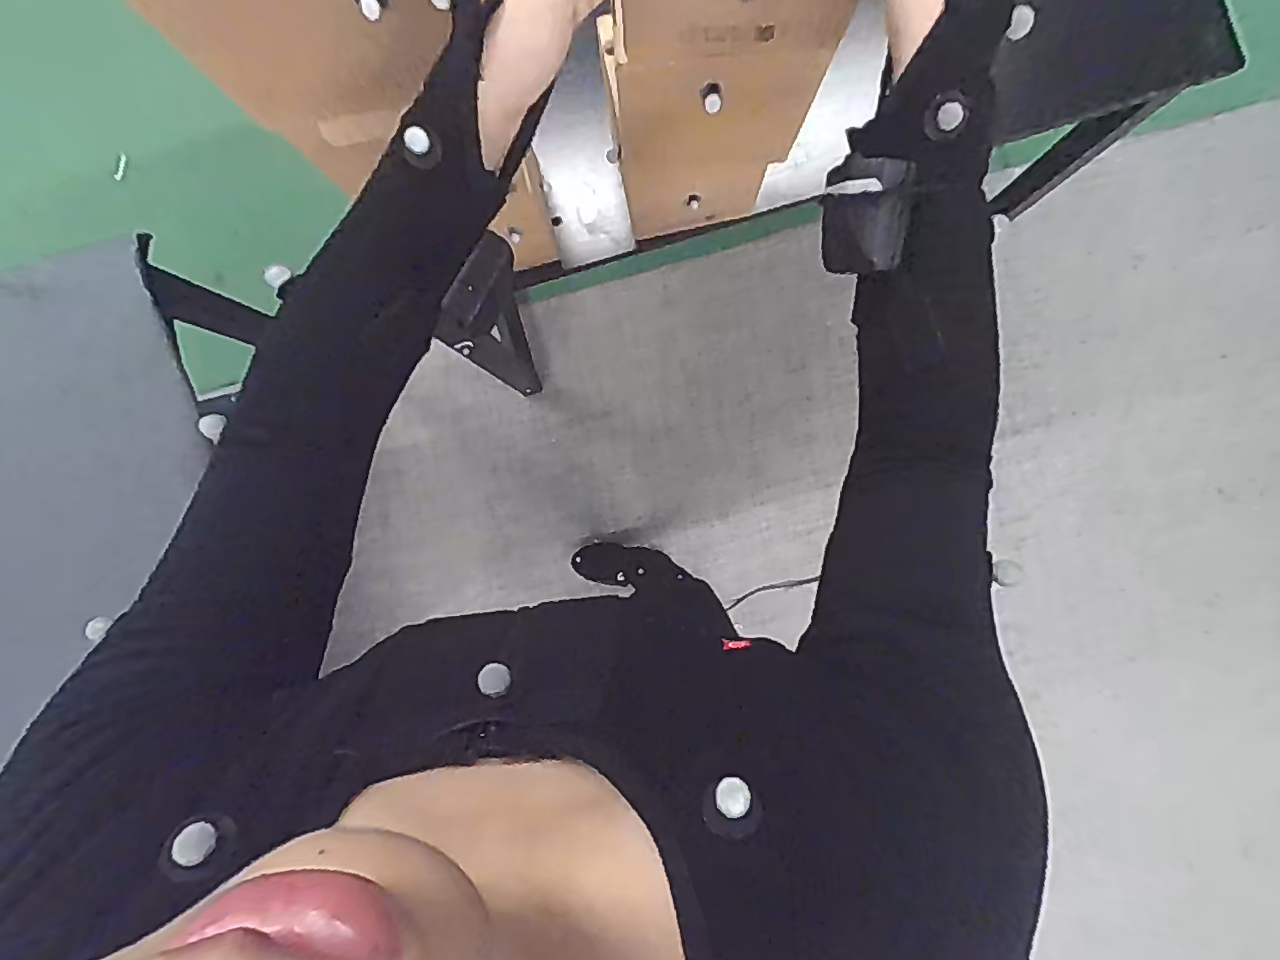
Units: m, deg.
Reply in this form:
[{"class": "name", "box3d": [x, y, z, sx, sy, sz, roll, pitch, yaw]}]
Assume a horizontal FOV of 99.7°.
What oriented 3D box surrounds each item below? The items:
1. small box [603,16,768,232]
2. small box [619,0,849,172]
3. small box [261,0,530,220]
[{"class": "small box", "box3d": [0.059, -0.427, 0.659, 0.168, 0.176, 0.179, -12, 89, 2]}, {"class": "small box", "box3d": [0.071, -0.409, 0.493, 0.179, 0.176, 0.168, -4, 92, 1]}, {"class": "small box", "box3d": [-0.212, -0.369, 0.505, 0.168, 0.176, 0.179, -12, 87, 1]}]
